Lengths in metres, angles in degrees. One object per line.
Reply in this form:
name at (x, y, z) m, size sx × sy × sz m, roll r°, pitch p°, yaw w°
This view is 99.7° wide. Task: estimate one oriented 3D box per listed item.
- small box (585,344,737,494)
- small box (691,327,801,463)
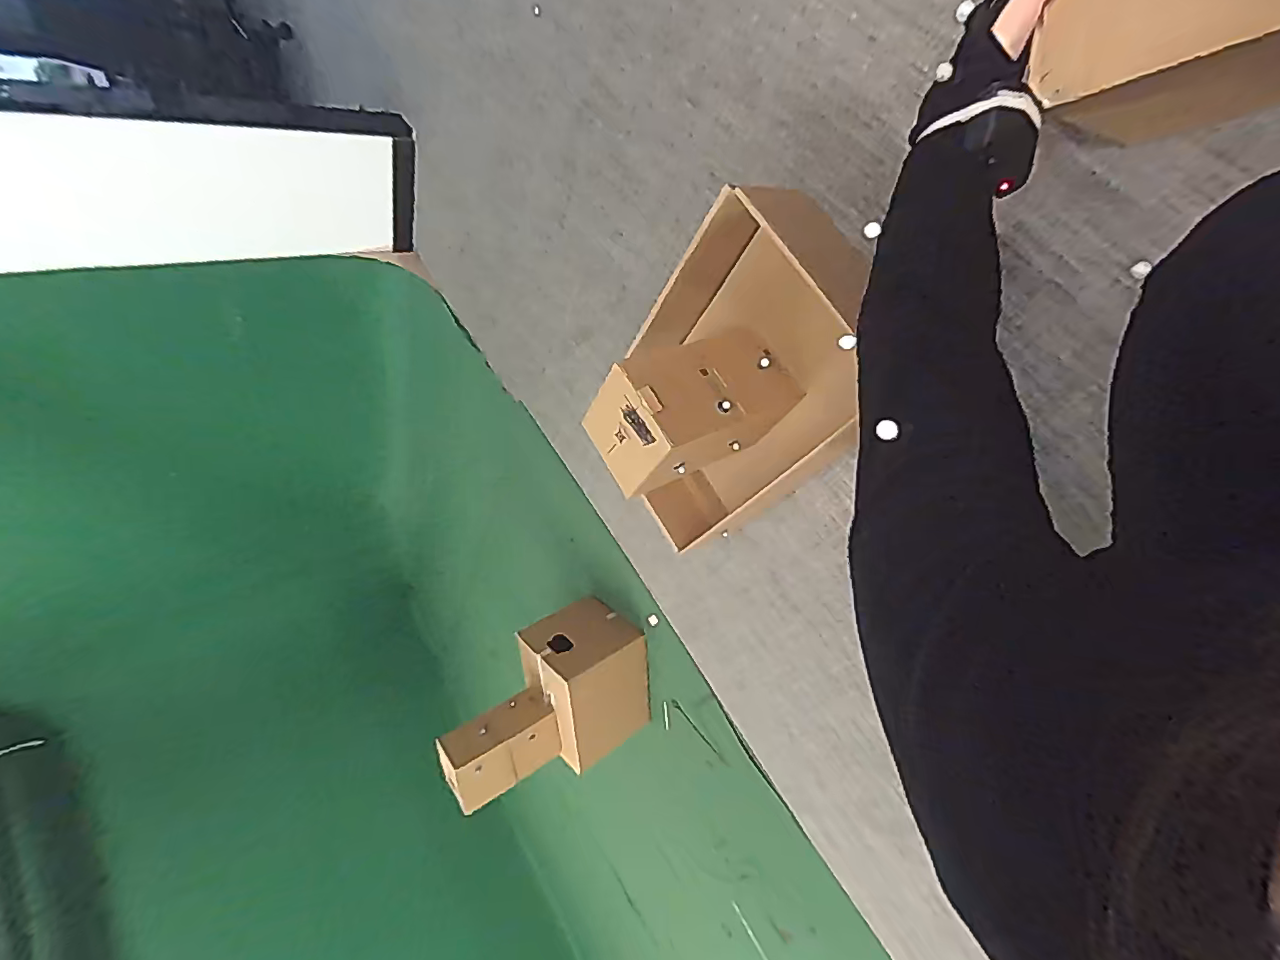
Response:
small box at (0.039, -0.107, 0.918) m, size 0.168 × 0.176 × 0.179 m, roll 59°, pitch 145°, yaw 13°
small box at (0.163, -0.159, 1.011) m, size 0.168 × 0.176 × 0.179 m, roll 58°, pitch 144°, yaw 14°
